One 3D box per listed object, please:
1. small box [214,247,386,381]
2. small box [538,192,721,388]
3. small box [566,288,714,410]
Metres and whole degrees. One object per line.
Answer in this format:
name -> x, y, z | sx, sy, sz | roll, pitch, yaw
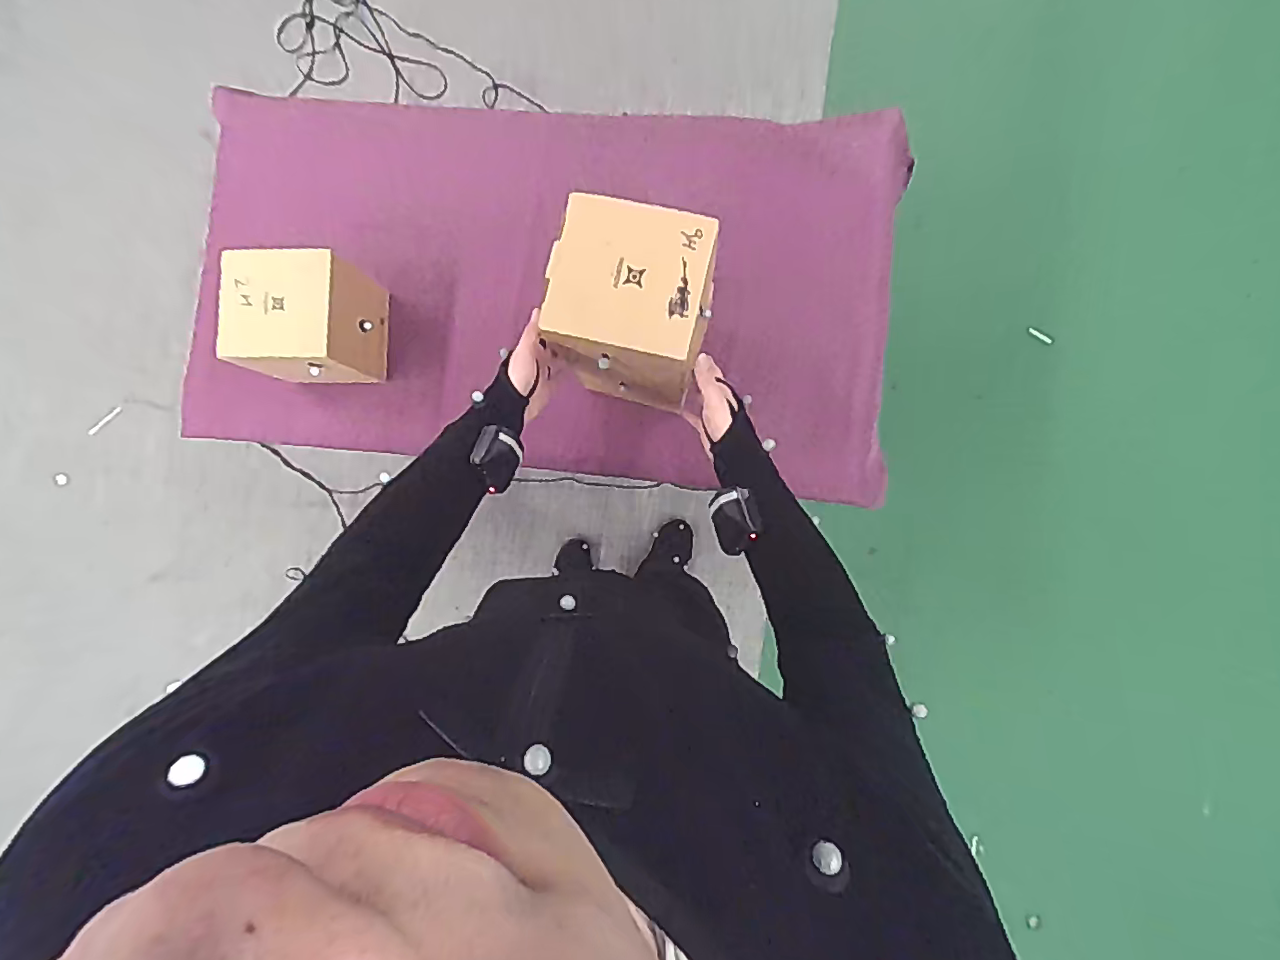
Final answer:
small box -> -0.538, -0.261, 0.879 | 0.179, 0.176, 0.168 | 2, 87, 4
small box -> -0.006, -0.224, 0.681 | 0.179, 0.176, 0.168 | 14, 89, 5
small box -> 0.005, -0.218, 0.845 | 0.179, 0.176, 0.168 | 17, 89, 4
